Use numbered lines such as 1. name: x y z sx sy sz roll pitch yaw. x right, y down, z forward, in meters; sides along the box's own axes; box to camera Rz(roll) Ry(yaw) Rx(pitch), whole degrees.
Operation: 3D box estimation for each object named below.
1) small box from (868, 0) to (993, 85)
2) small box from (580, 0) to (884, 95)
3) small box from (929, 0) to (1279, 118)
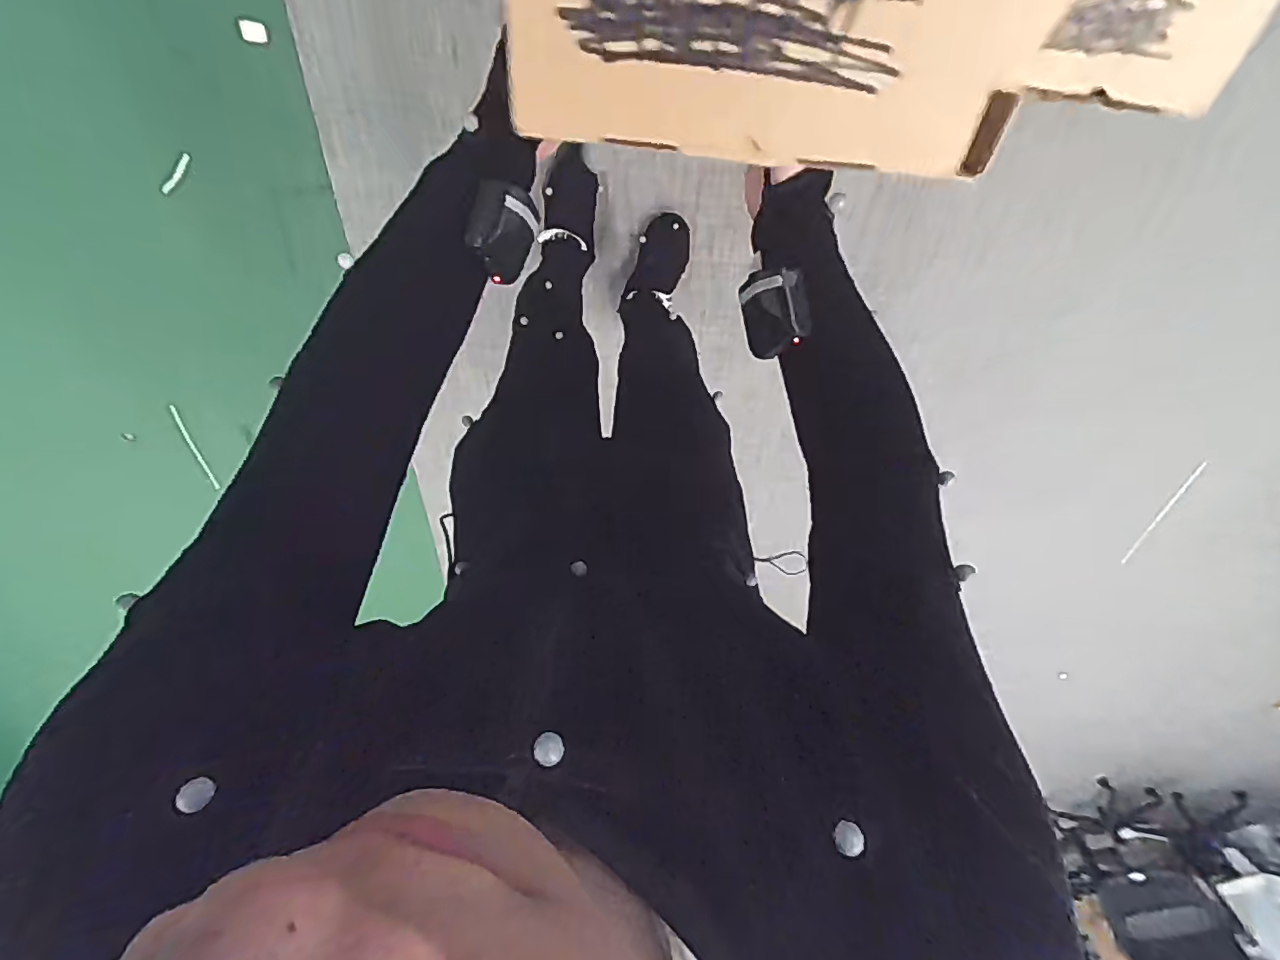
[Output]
1. small box: 0.339 -0.488 0.507 0.168 0.176 0.179 6 130 -5
2. small box: 0.055 -0.353 0.318 0.168 0.176 0.179 5 131 -6
3. small box: 0.339 -0.381 0.383 0.168 0.176 0.179 6 128 -4
